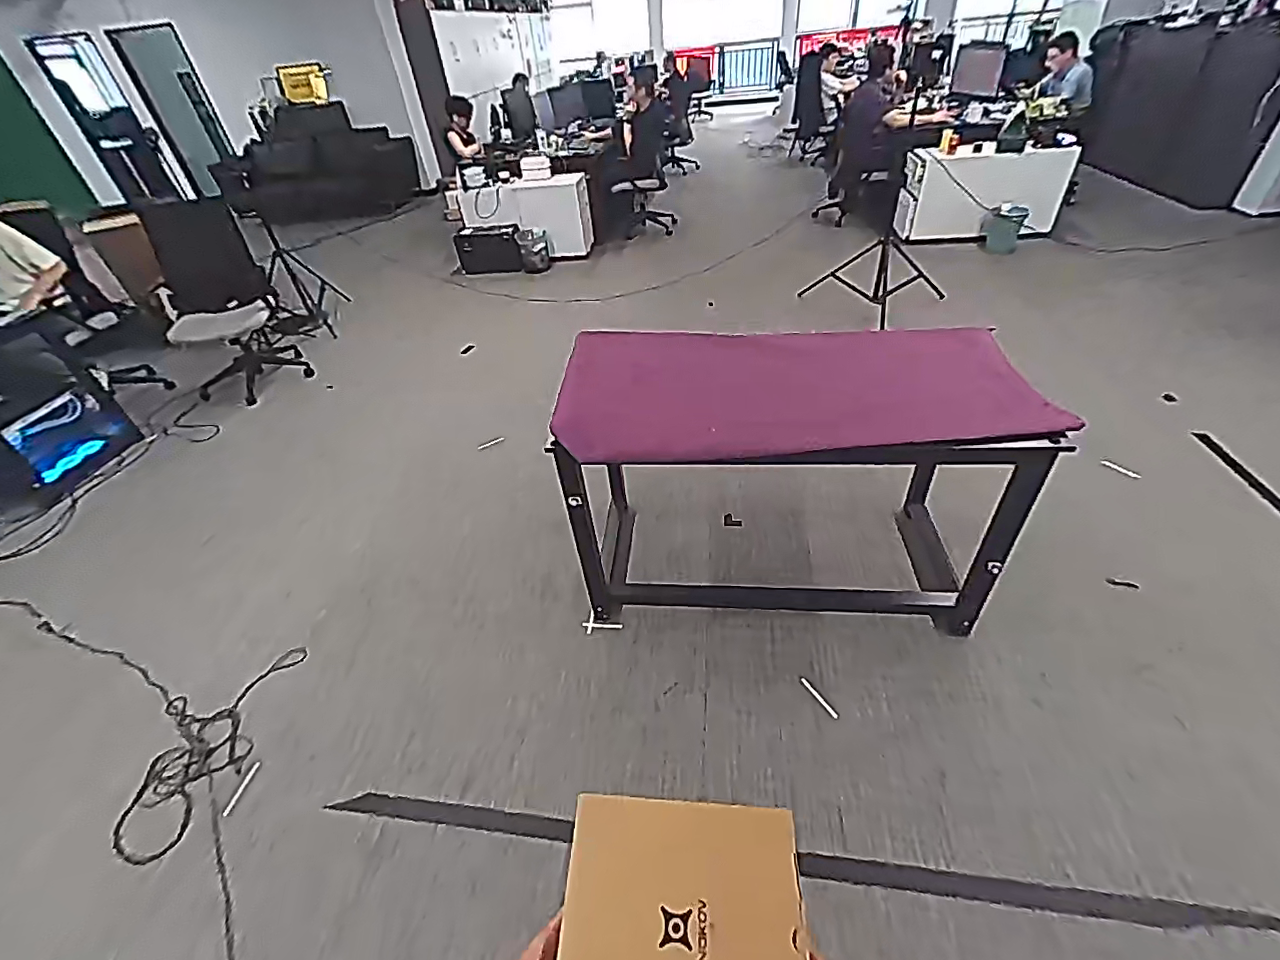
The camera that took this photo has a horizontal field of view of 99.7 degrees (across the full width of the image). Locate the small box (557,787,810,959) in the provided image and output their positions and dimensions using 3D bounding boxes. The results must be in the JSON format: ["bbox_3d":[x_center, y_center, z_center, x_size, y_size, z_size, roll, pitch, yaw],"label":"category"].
[{"bbox_3d":[0.033,0.373,0.440,0.179,0.176,0.168,2,43,3],"label":"small box"}]
